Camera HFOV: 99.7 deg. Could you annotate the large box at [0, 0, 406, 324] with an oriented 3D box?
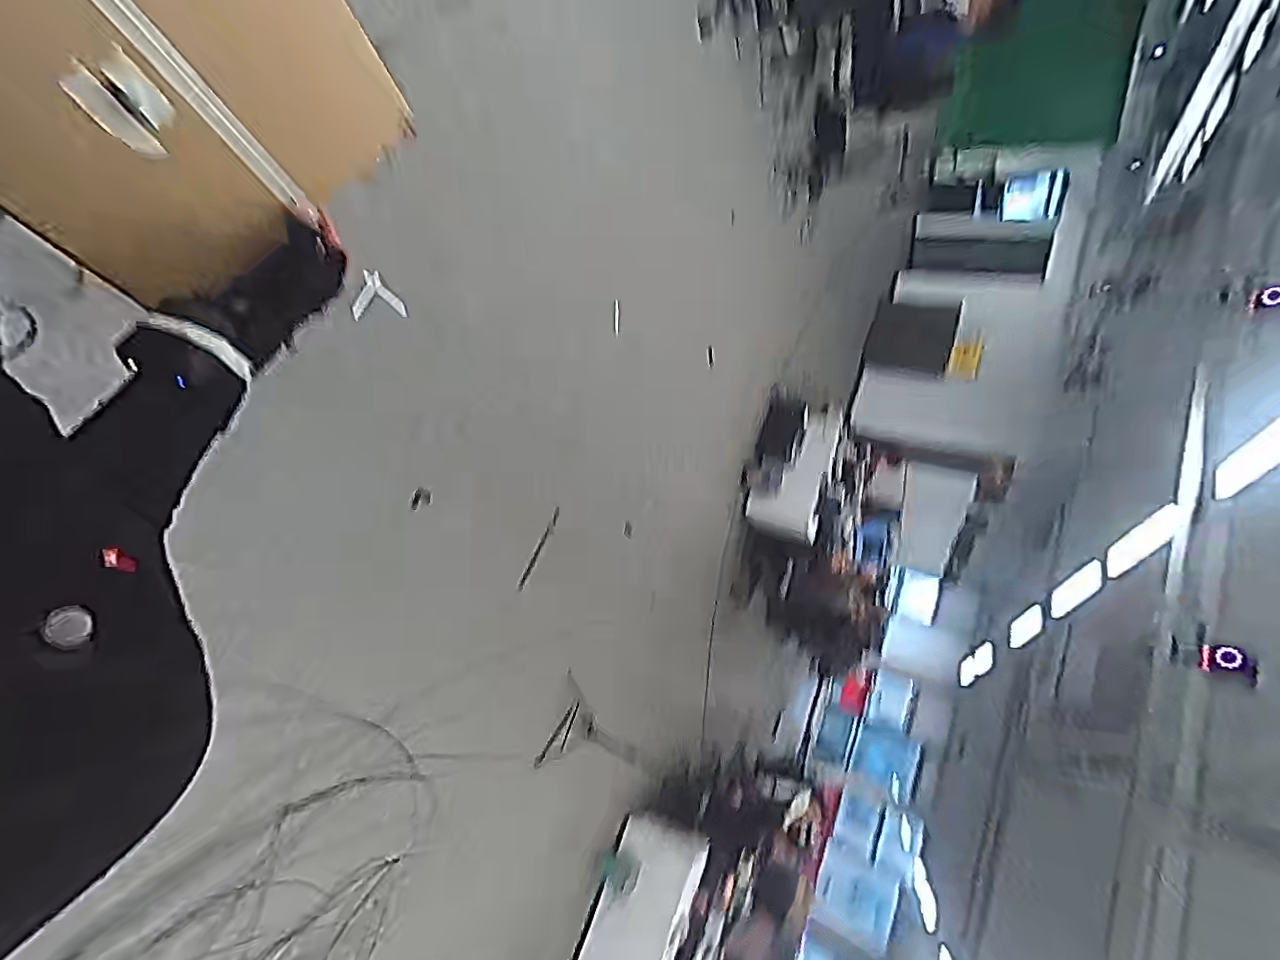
[{"bbox_3d":[-0.500,-0.410,0.434,0.320,0.320,0.408,-53,151,-14],"label":"large box"}]
